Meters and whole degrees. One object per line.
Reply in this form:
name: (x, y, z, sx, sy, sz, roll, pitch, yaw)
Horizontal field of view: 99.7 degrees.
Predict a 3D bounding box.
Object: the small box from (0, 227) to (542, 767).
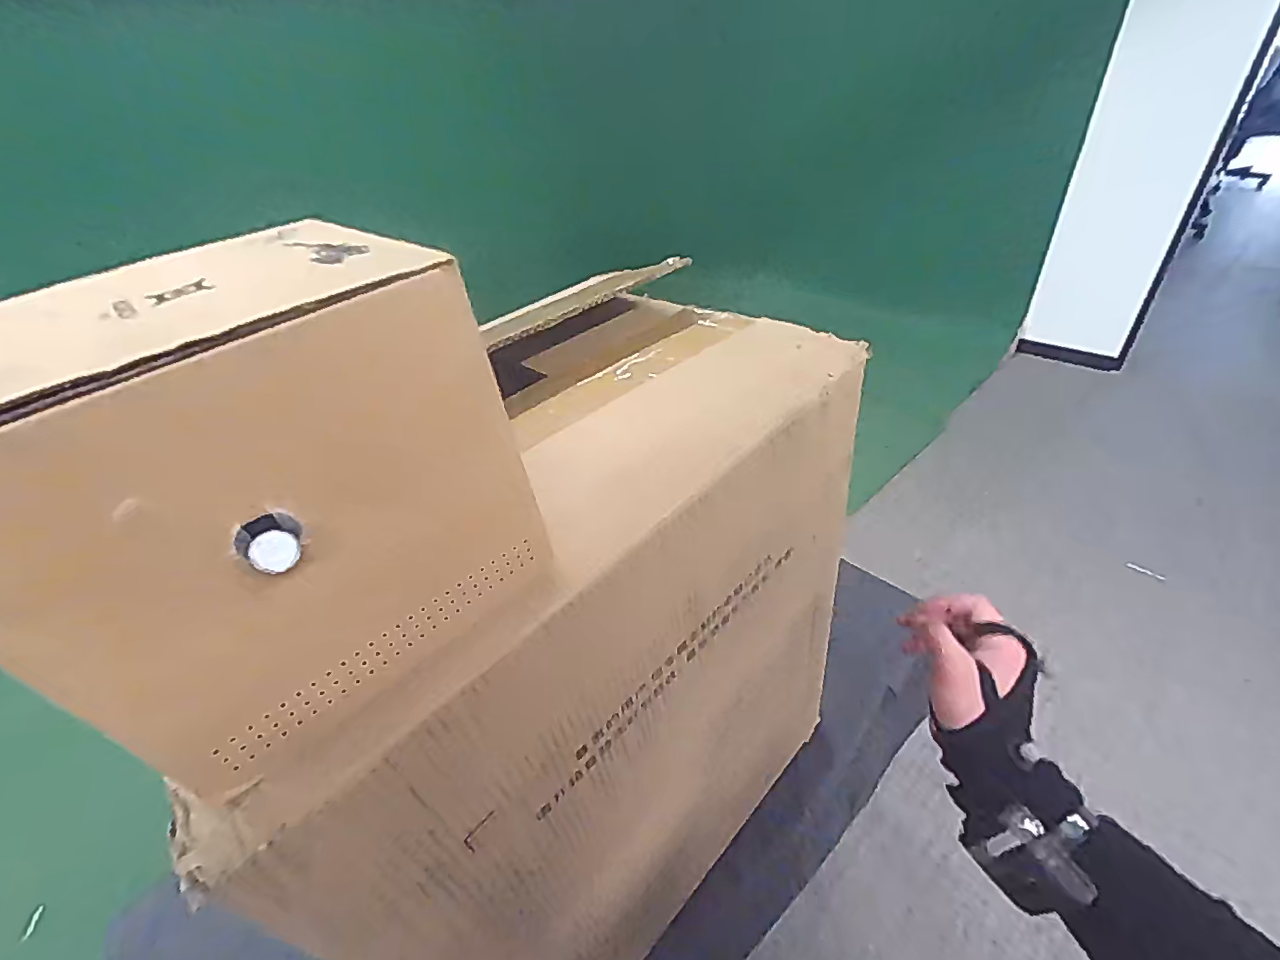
small box: (-0.176, -0.004, 0.266, 0.179, 0.176, 0.168, -37, 47, -28)
